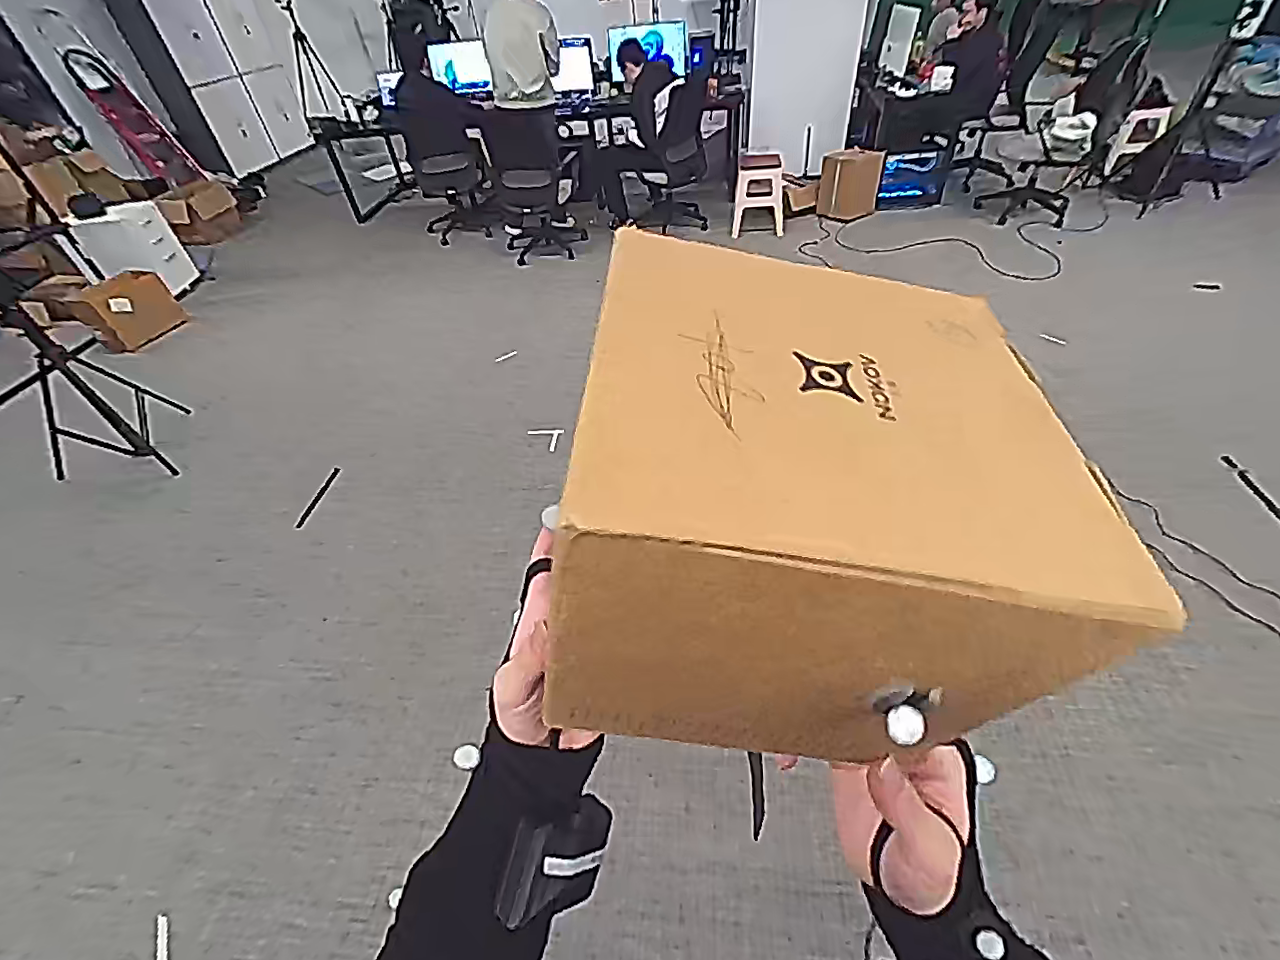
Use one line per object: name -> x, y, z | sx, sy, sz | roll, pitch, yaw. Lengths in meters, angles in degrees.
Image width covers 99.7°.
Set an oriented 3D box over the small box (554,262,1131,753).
small box -> 0.057, 0.022, 0.268 | 0.179, 0.176, 0.168 | 7, 47, -4
